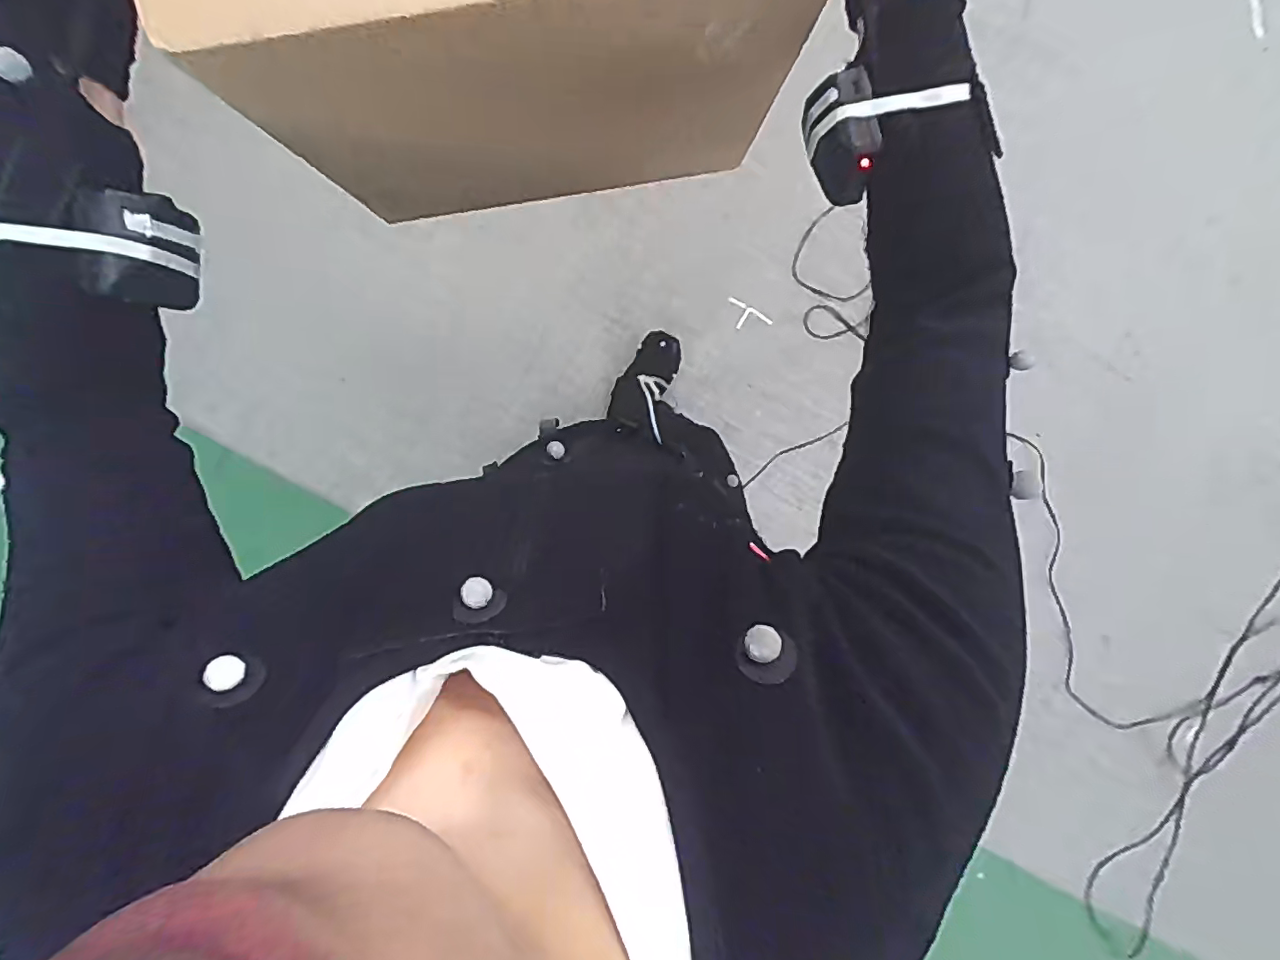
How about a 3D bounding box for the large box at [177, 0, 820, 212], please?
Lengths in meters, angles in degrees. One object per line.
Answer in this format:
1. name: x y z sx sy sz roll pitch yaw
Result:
1. large box: -0.097 -0.454 0.434 0.408 0.320 0.320 -10 100 -1
